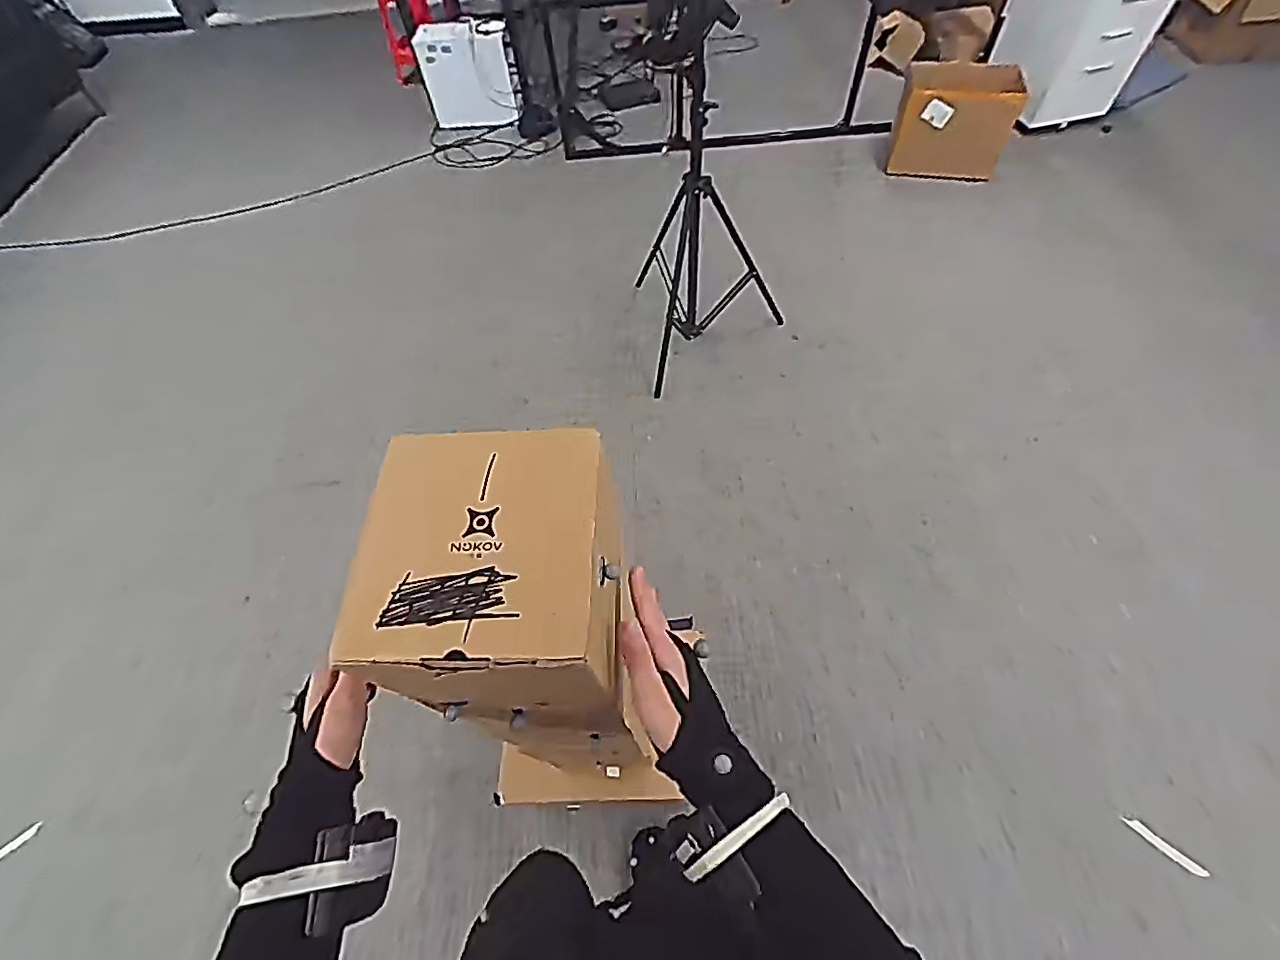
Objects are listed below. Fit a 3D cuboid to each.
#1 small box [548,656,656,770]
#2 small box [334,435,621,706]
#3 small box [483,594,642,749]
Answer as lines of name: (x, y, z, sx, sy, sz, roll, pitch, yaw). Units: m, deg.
small box: (-0.065, 0.433, 0.997, 0.179, 0.176, 0.168, -4, 59, 0)
small box: (-0.106, 0.083, 0.445, 0.168, 0.176, 0.179, -2, 58, 3)
small box: (-0.088, 0.257, 0.720, 0.179, 0.176, 0.168, -2, 58, 3)
